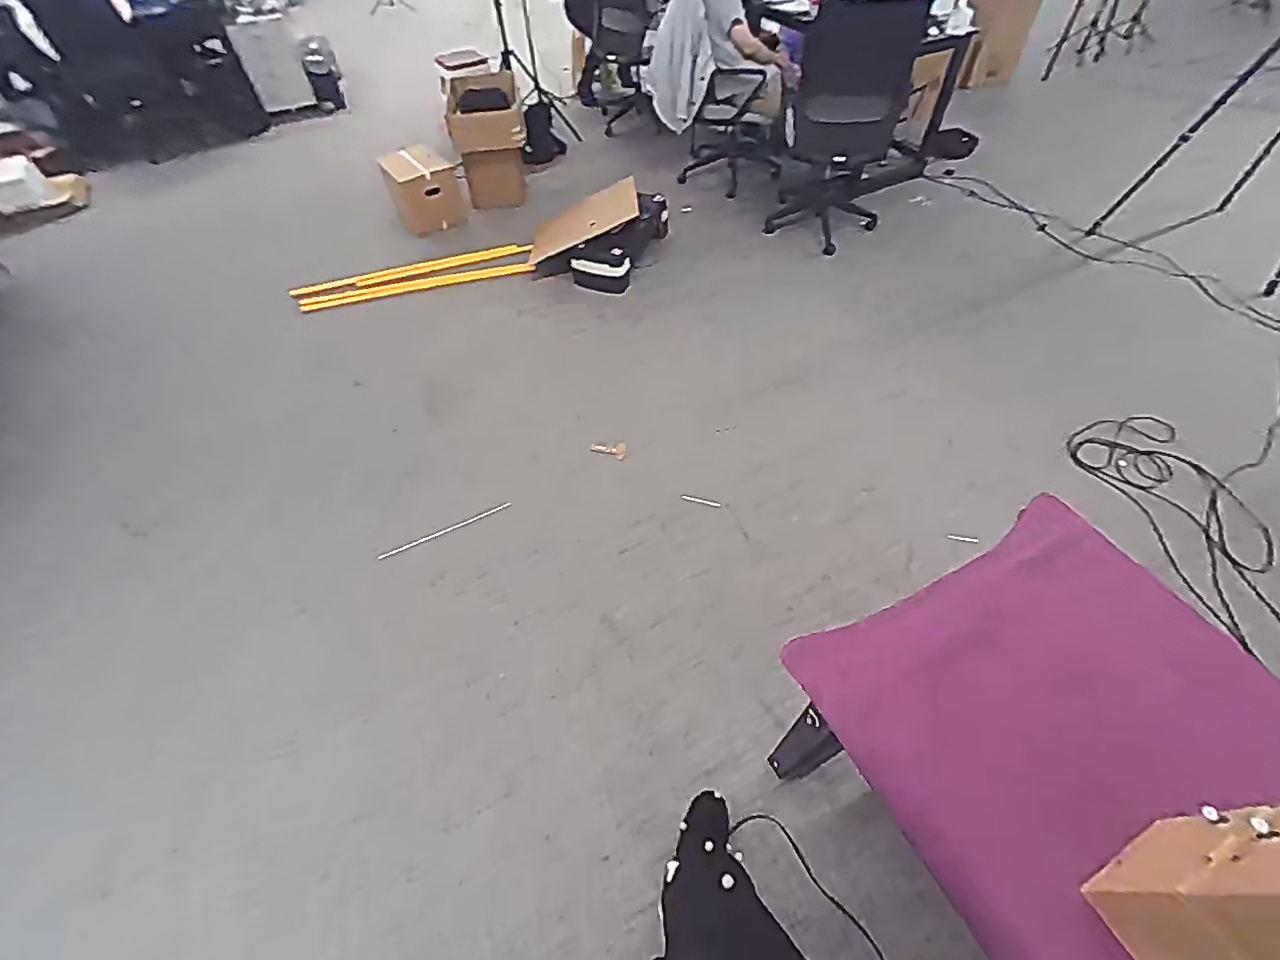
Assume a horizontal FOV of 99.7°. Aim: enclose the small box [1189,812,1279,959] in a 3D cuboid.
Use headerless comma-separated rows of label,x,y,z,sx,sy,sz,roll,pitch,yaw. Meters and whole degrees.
small box,0.659,0.399,0.460,0.168,0.176,0.179,-23,55,-15
